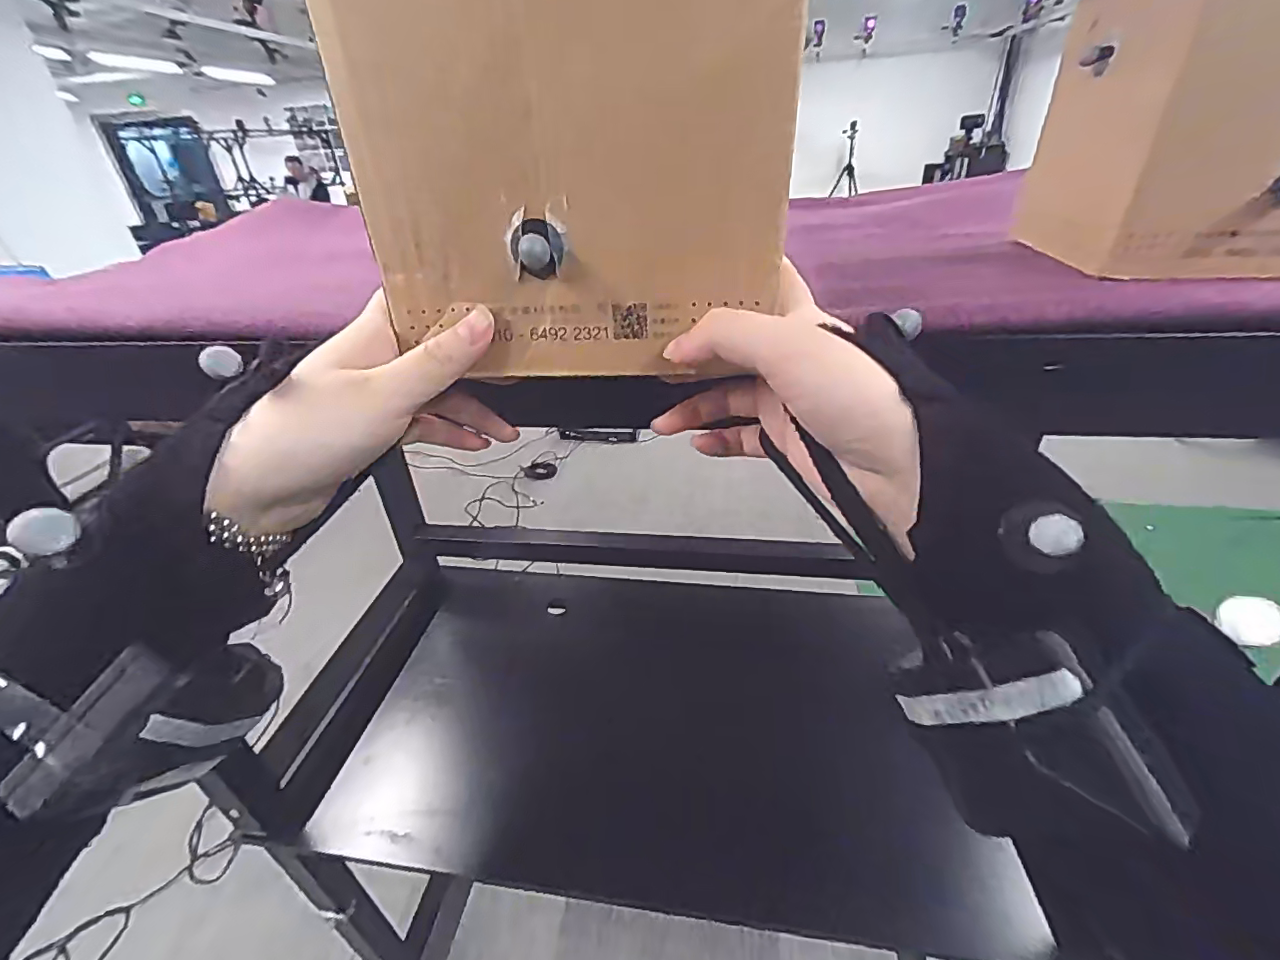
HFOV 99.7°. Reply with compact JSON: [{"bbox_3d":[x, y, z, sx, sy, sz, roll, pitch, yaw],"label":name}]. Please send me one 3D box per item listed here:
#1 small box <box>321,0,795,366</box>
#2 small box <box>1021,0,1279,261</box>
[{"bbox_3d":[-0.026,-0.164,0.267,0.168,0.176,0.179,-1,32,4],"label":"small box"},{"bbox_3d":[0.379,-0.242,0.343,0.168,0.176,0.179,4,34,14],"label":"small box"}]
